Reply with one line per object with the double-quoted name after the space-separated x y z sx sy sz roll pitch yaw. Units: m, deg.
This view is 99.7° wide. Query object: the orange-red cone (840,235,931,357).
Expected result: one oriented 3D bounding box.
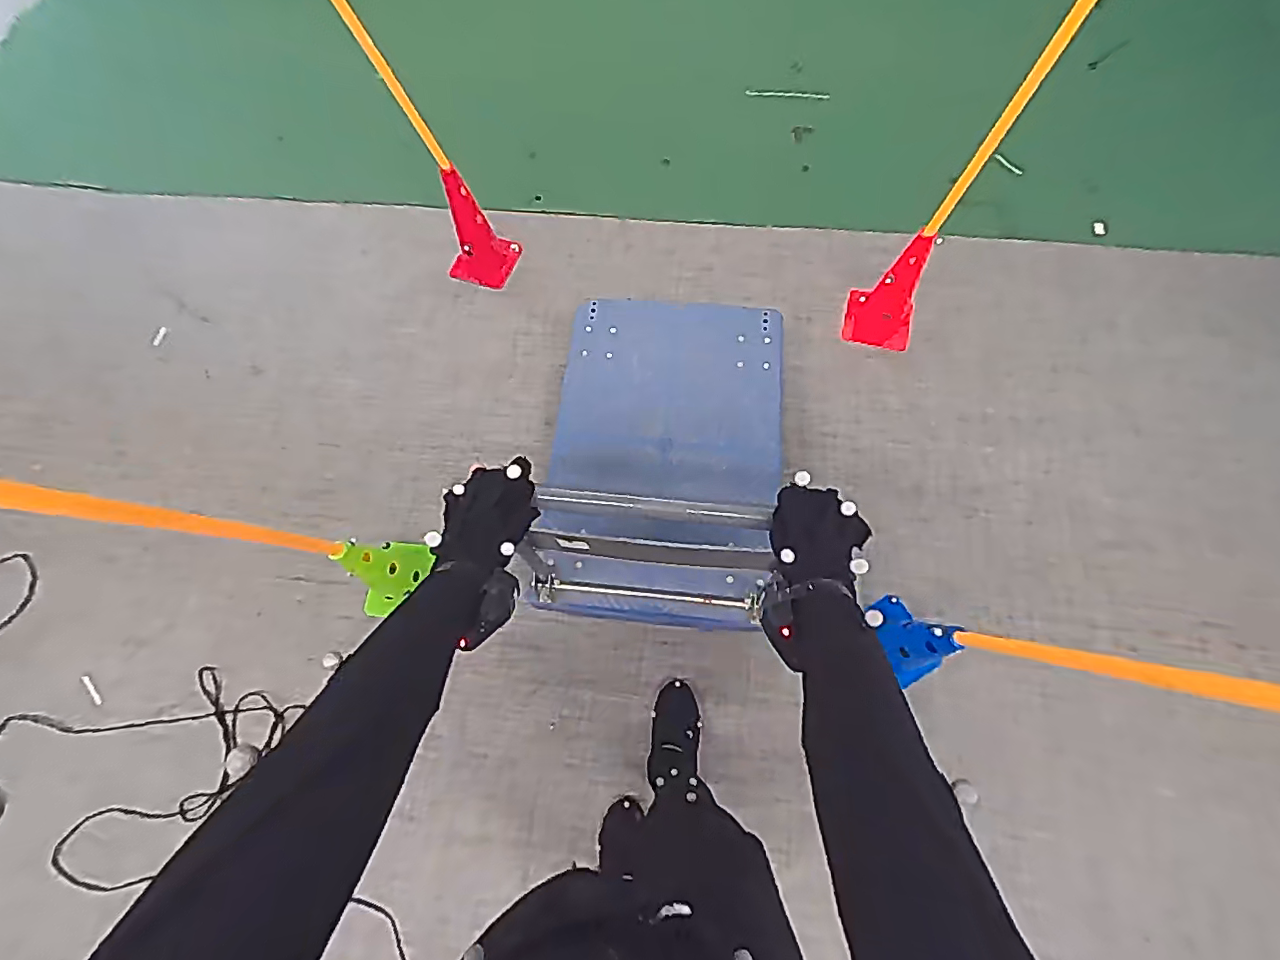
0.727 -0.540 1.528 0.198 0.360 0.199 15 71 9 "orange-red cone"
